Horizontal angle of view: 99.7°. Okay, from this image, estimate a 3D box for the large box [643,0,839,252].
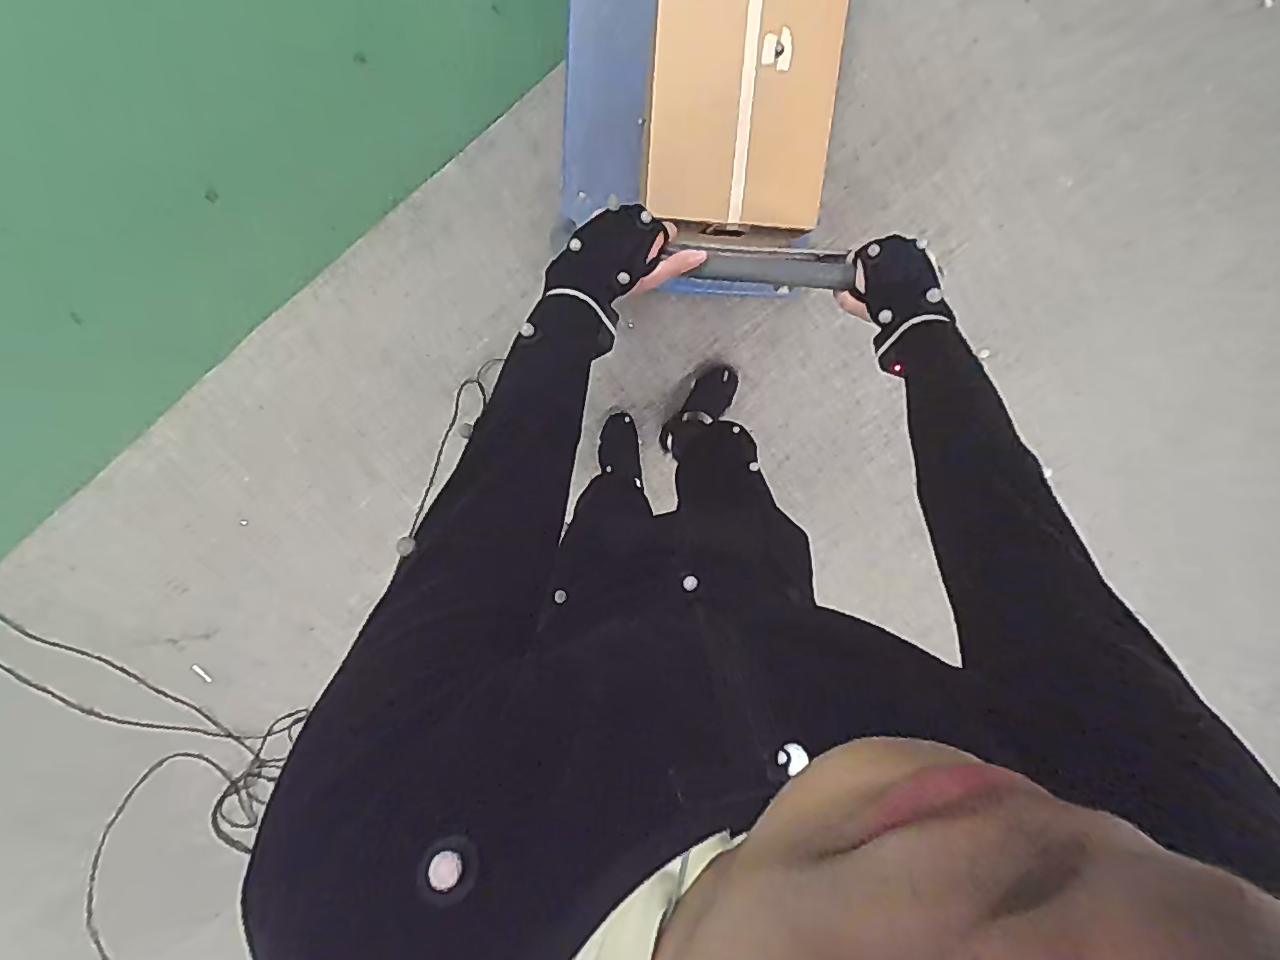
[{"bbox_3d":[0.169,-0.695,1.081,0.320,0.320,0.408,3,105,-4],"label":"large box"}]
